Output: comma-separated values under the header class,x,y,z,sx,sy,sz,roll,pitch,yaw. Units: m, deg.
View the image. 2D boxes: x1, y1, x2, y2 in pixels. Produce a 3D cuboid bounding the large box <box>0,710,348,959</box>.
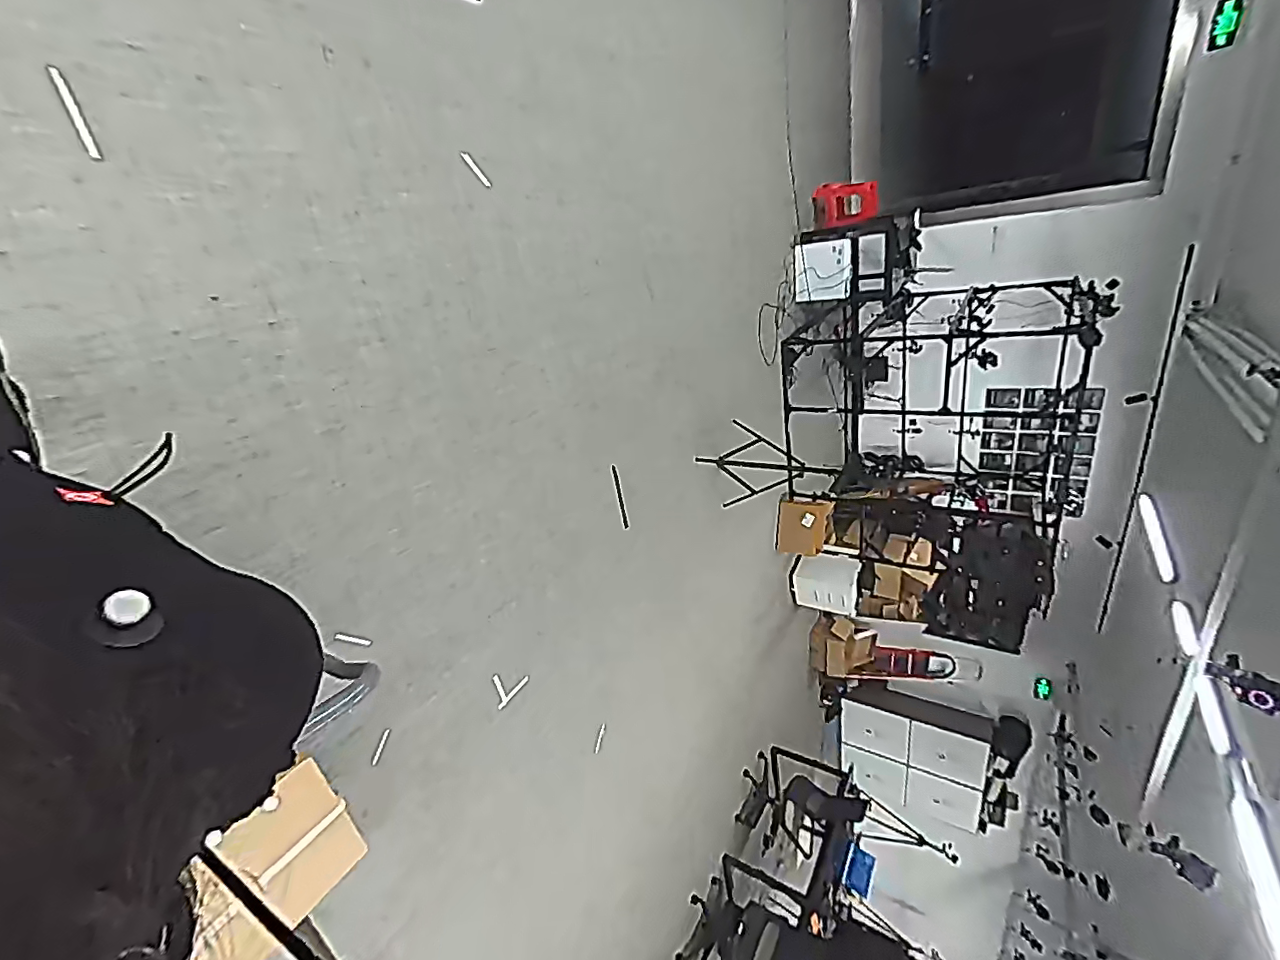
class,x,y,z,sx,sy,sz,roll,pitch,yaw
large box,-0.890,0.749,1.062,0.408,0.320,0.320,-39,127,-47
